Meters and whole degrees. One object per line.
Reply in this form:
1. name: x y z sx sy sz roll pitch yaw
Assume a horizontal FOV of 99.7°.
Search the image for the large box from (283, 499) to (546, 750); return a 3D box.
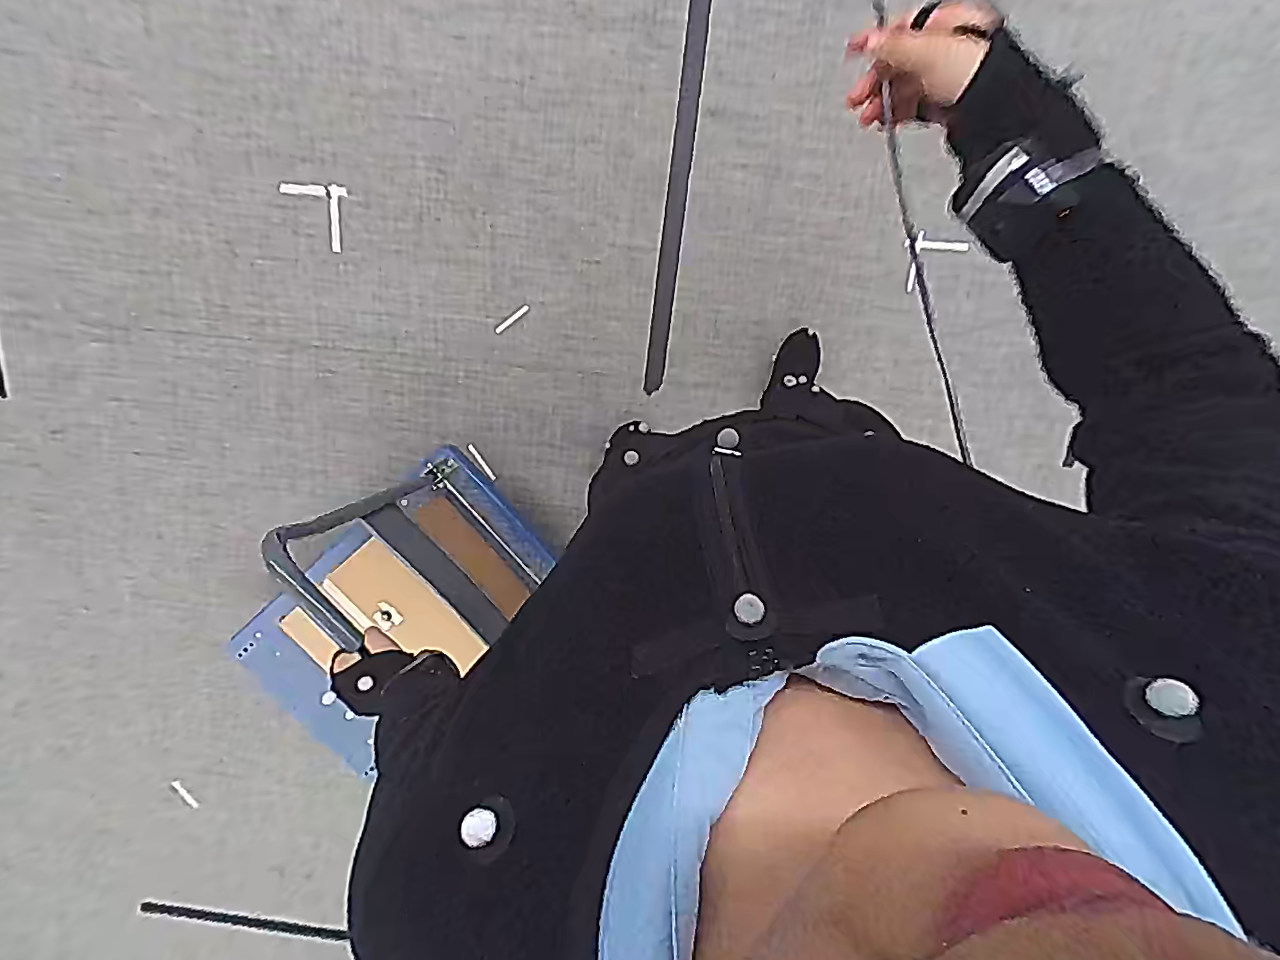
1. large box: -0.489 0.316 1.260 0.320 0.320 0.408 -39 97 10
